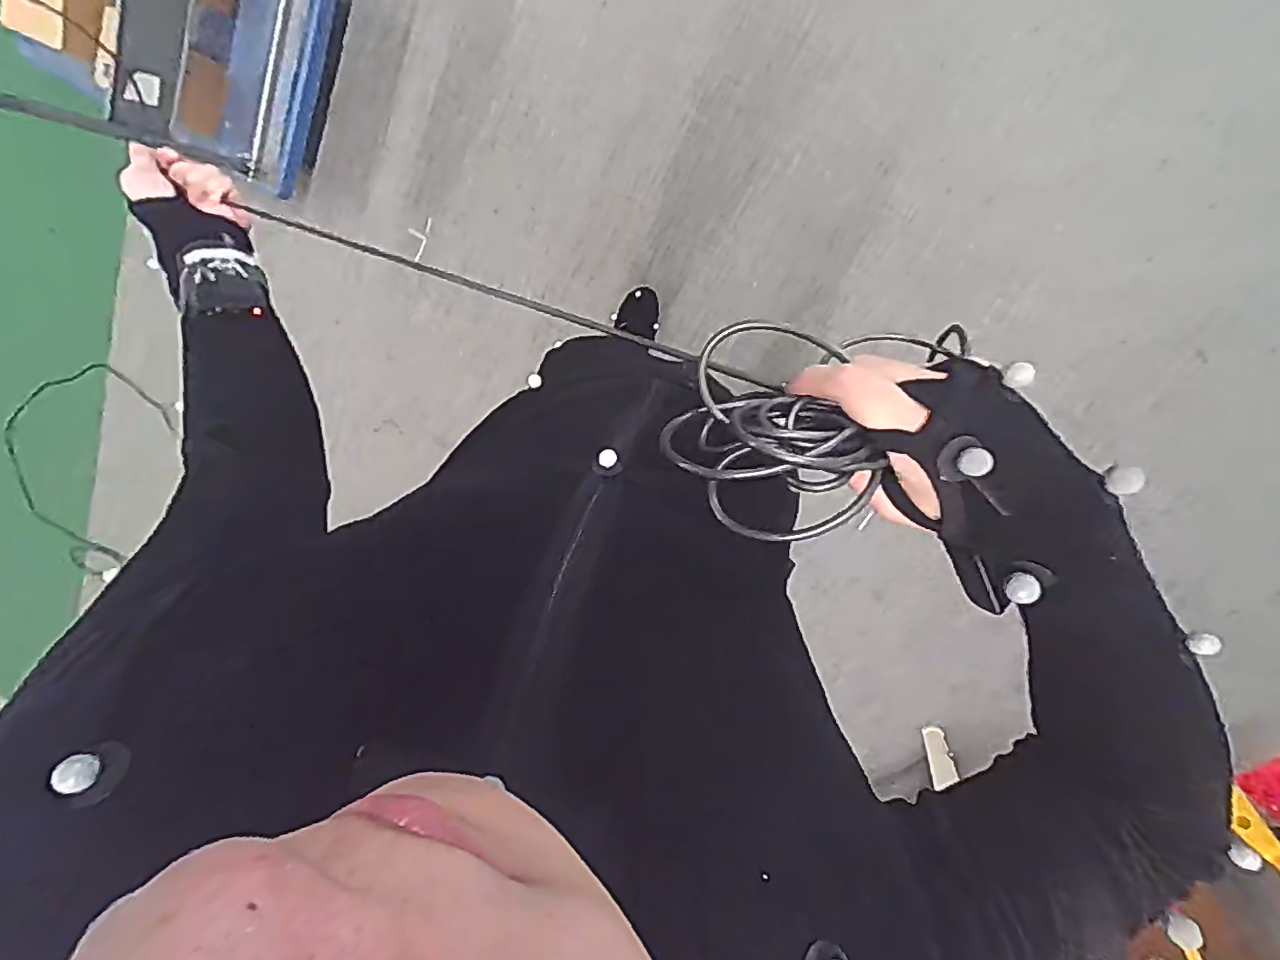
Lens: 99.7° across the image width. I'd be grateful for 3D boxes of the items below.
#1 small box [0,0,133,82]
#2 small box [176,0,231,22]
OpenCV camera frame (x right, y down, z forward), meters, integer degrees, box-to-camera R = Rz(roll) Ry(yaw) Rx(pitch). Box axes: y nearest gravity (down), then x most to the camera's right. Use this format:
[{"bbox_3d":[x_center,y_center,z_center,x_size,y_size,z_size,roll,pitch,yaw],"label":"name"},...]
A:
[{"bbox_3d":[-1.413,-1.127,1.336,0.179,0.176,0.168,26,109,3],"label":"small box"},{"bbox_3d":[-1.081,-1.211,1.241,0.179,0.176,0.168,30,110,1],"label":"small box"}]
